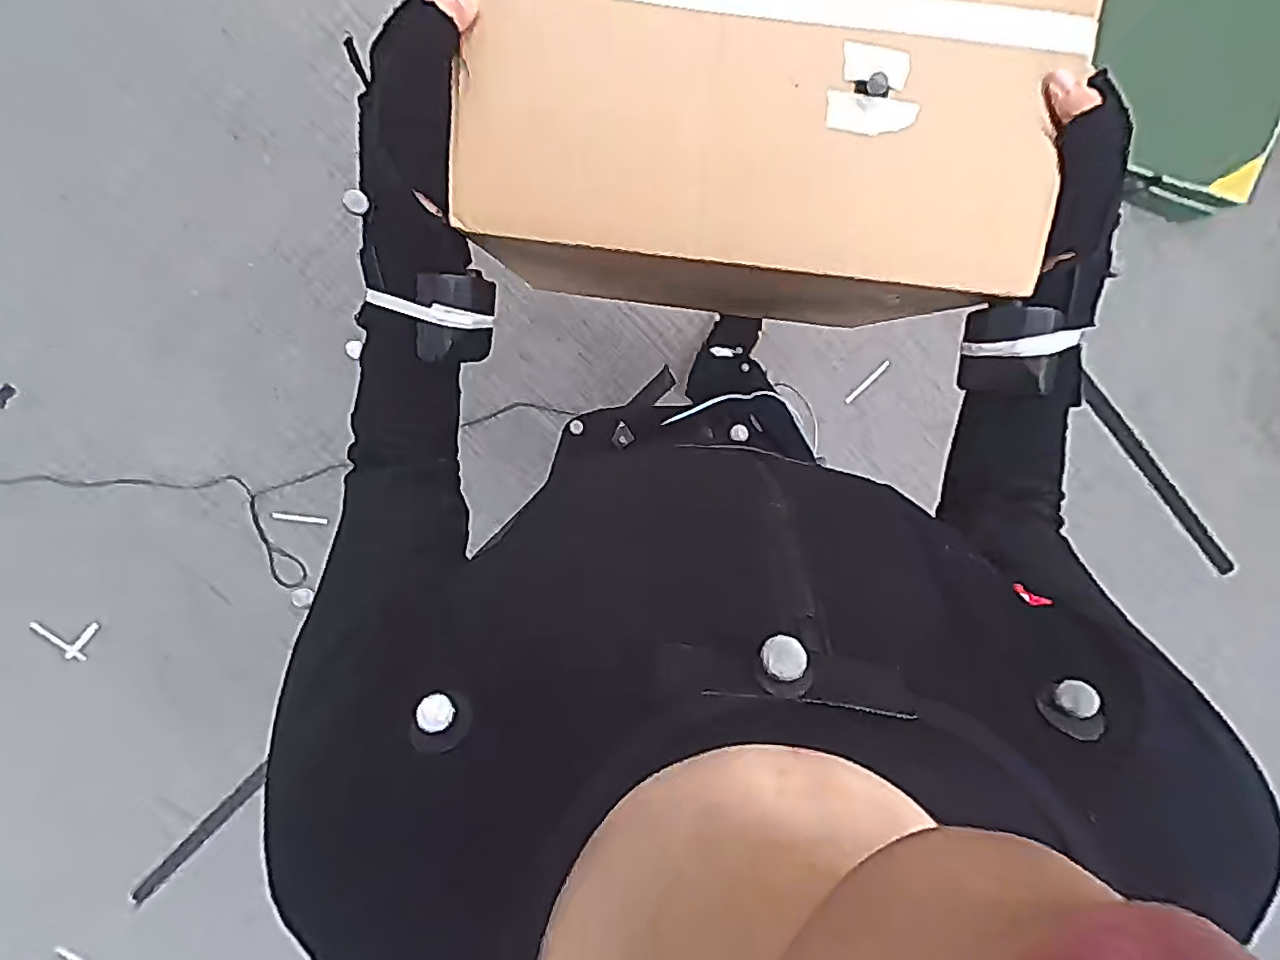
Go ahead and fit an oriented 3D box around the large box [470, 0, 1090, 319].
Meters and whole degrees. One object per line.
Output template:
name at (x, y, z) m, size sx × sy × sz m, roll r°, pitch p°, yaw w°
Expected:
large box at (0.088, -0.338, 0.497) m, size 0.408 × 0.320 × 0.320 m, roll 7°, pitch 103°, yaw -3°
